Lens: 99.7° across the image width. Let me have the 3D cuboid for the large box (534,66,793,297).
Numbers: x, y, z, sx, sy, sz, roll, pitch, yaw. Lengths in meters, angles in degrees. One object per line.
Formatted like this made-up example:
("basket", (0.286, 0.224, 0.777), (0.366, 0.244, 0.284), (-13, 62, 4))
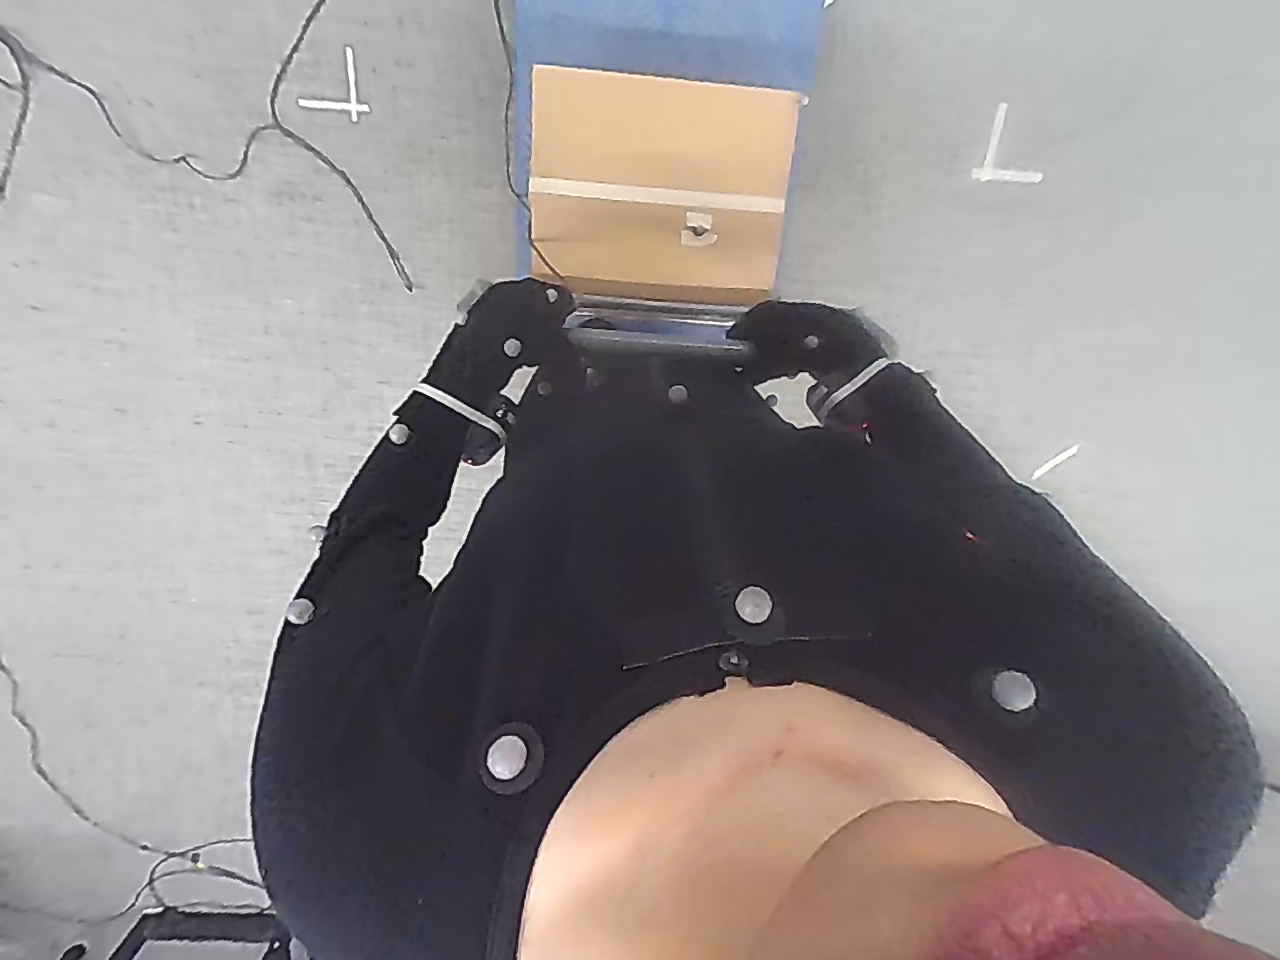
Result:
("large box", (0.022, -0.517, 1.009), (0.408, 0.320, 0.320), (3, 111, -5))
